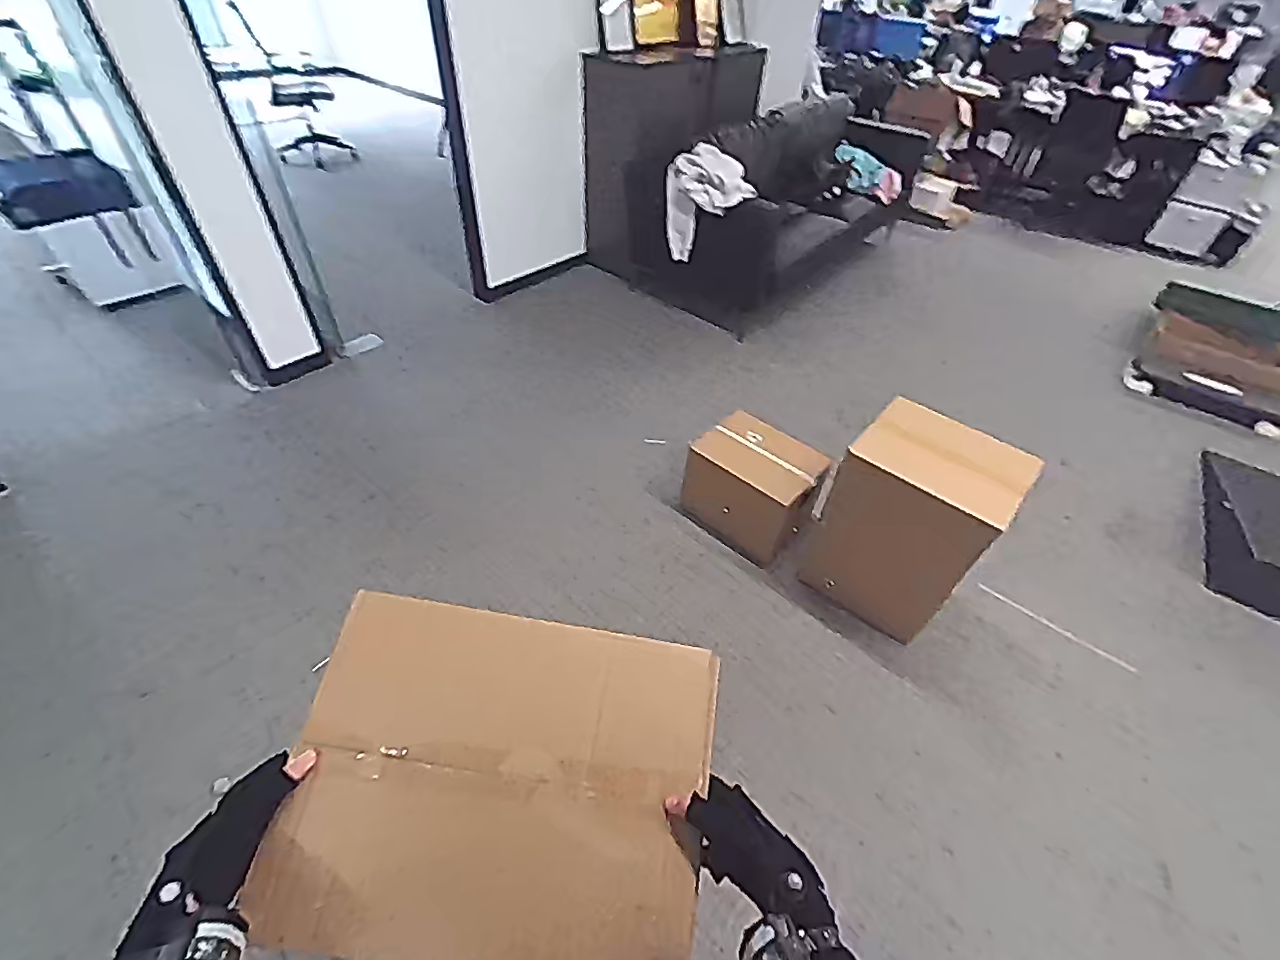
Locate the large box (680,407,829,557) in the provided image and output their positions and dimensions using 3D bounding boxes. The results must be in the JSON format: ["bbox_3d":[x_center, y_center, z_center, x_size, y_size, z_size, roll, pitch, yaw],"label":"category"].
[{"bbox_3d":[0.400,0.001,1.964,0.408,0.320,0.320,33,51,27],"label":"large box"}]
